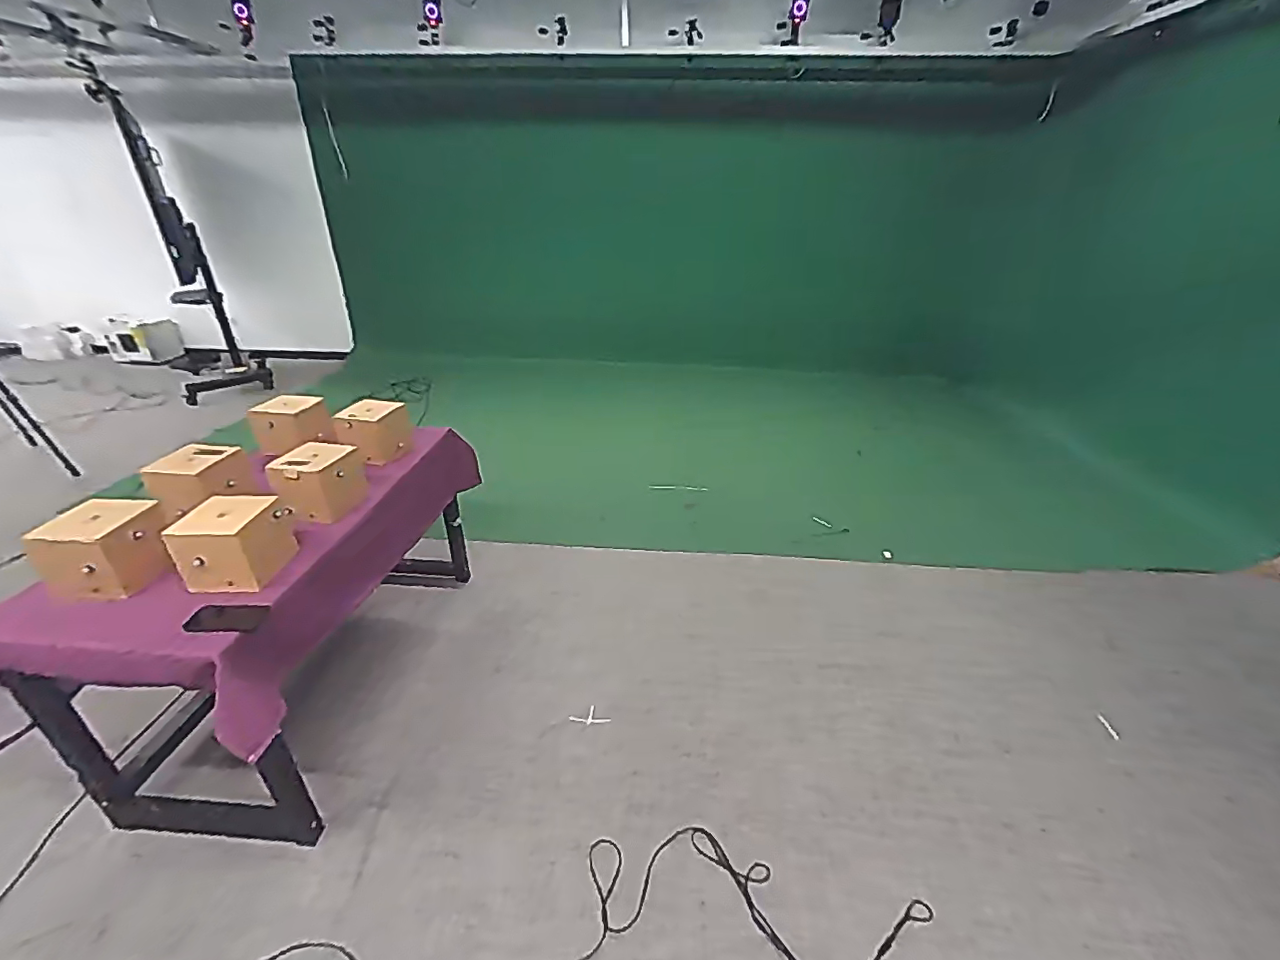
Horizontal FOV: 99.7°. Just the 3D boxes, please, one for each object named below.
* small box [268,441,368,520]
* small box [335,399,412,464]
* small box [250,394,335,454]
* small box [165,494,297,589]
[{"bbox_3d":[-0.926,0.002,1.575,0.168,0.176,0.179,6,28,9],"label":"small box"},{"bbox_3d":[-0.928,-0.173,1.902,0.168,0.176,0.179,6,28,10],"label":"small box"},{"bbox_3d":[-1.239,-0.198,1.938,0.179,0.176,0.168,5,29,7],"label":"small box"},{"bbox_3d":[-0.967,0.149,1.301,0.168,0.176,0.179,0,27,-1],"label":"small box"}]
